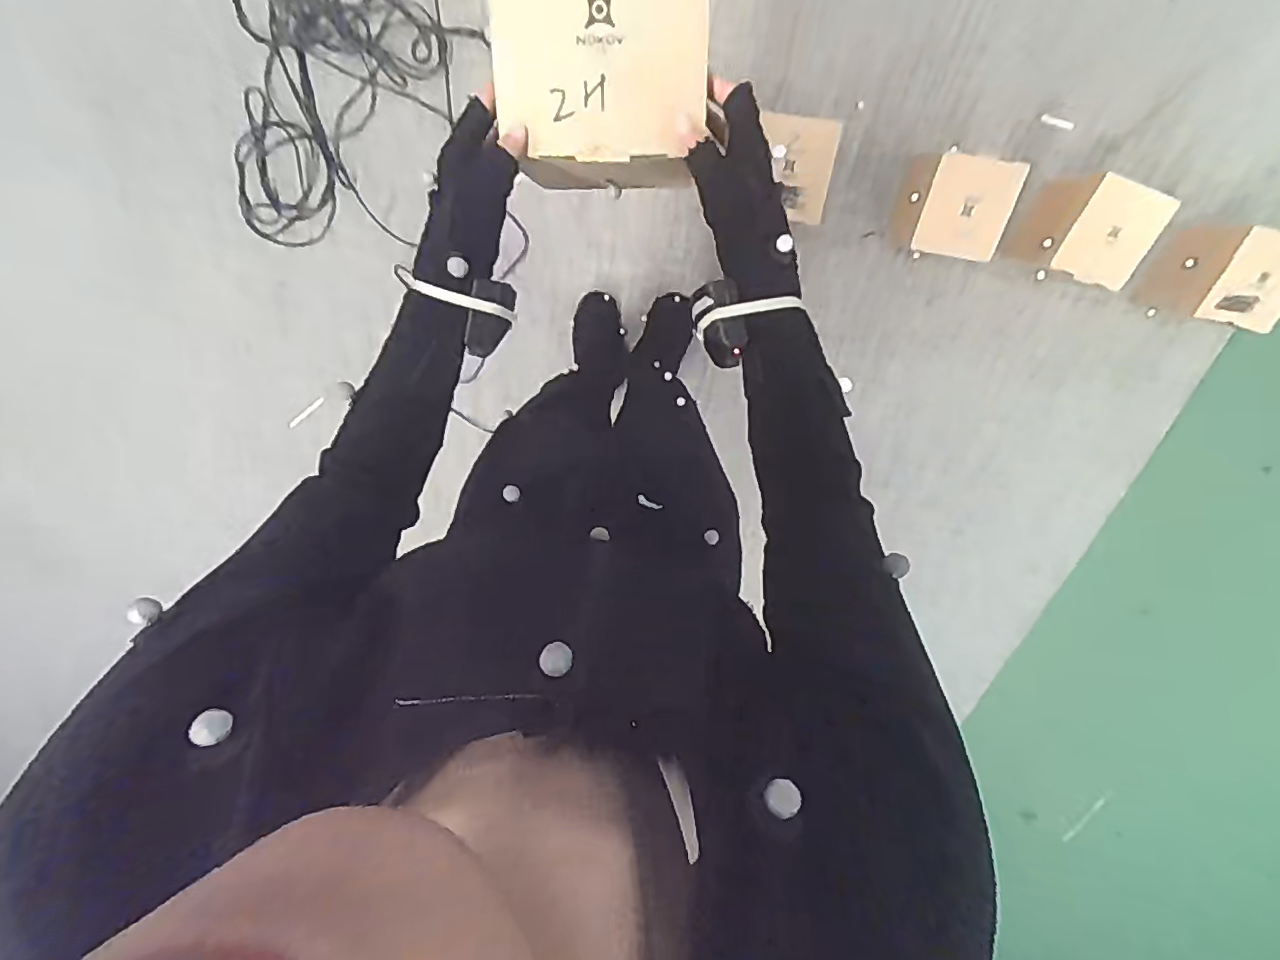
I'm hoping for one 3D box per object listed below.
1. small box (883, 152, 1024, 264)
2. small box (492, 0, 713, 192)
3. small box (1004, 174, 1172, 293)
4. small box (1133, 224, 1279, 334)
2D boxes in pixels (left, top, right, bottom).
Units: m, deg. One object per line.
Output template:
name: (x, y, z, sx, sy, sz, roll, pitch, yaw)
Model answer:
small box: (0.627, -0.557, 1.112, 0.168, 0.176, 0.179, 10, 118, 0)
small box: (-0.026, -0.364, 0.475, 0.168, 0.176, 0.179, 1, 111, 2)
small box: (0.909, -0.511, 1.122, 0.168, 0.176, 0.179, 17, 117, -6)
small box: (1.217, -0.430, 1.147, 0.168, 0.176, 0.179, 13, 115, -4)
